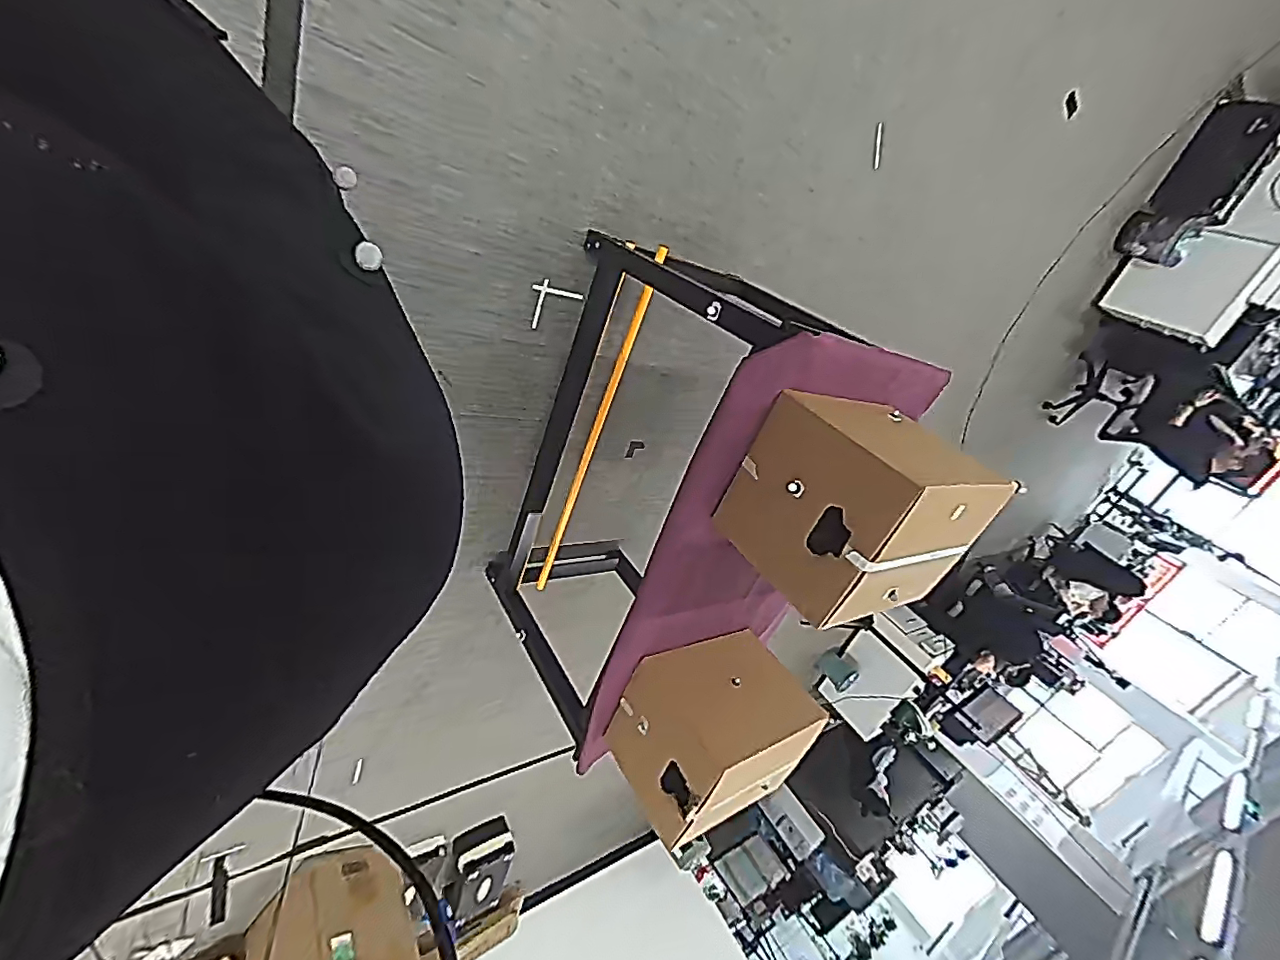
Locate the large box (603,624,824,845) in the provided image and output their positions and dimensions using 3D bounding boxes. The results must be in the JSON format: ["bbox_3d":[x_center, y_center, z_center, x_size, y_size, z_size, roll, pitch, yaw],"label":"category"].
[{"bbox_3d":[0.178,0.617,1.381,0.408,0.320,0.320,-2,125,-41],"label":"large box"}]
